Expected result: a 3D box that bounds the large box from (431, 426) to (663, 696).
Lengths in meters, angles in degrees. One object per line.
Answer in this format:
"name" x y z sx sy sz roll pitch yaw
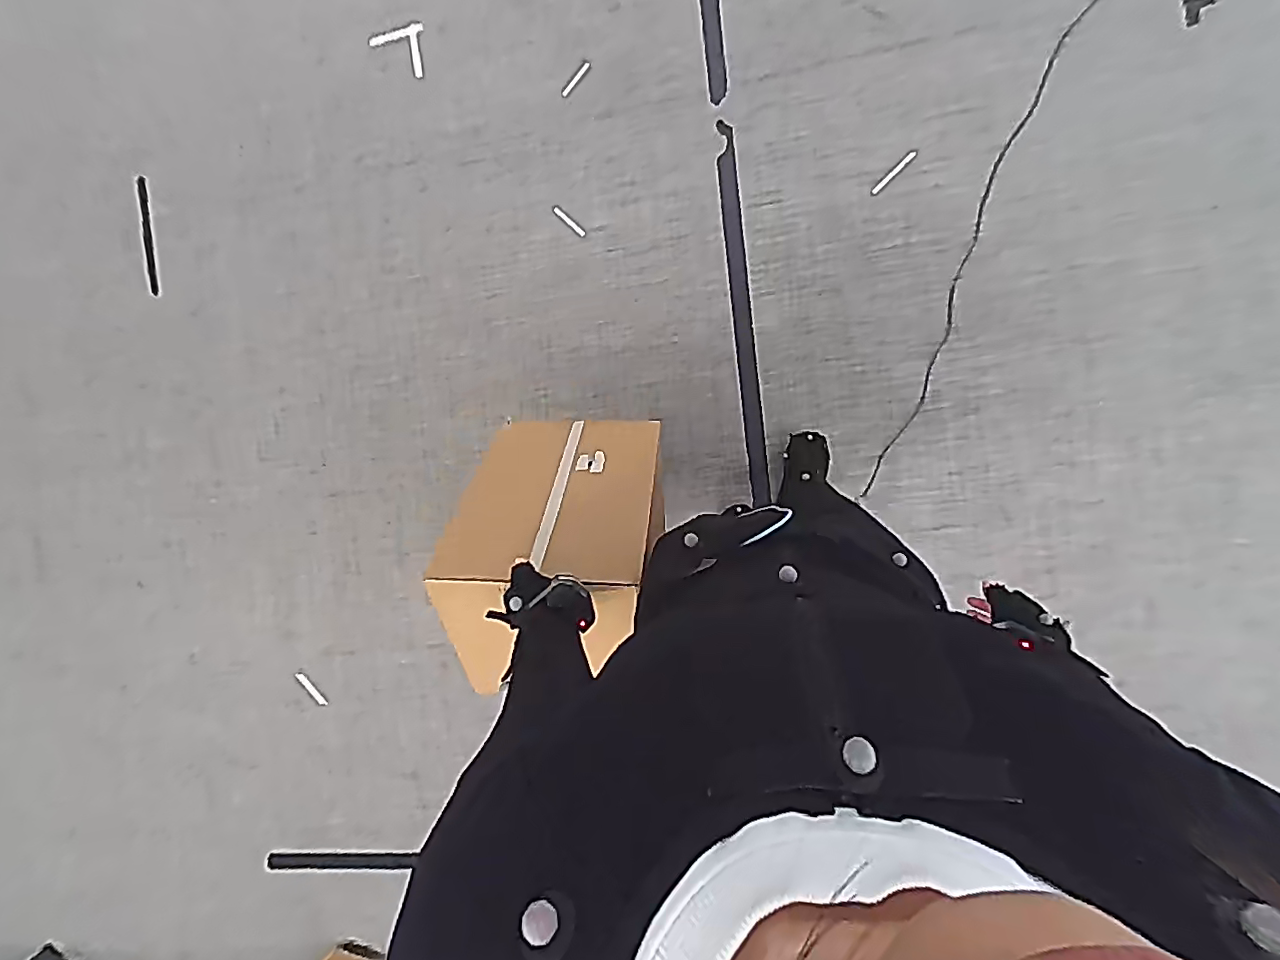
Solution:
"large box" -0.127 0.138 1.007 0.320 0.408 0.320 1 128 7
